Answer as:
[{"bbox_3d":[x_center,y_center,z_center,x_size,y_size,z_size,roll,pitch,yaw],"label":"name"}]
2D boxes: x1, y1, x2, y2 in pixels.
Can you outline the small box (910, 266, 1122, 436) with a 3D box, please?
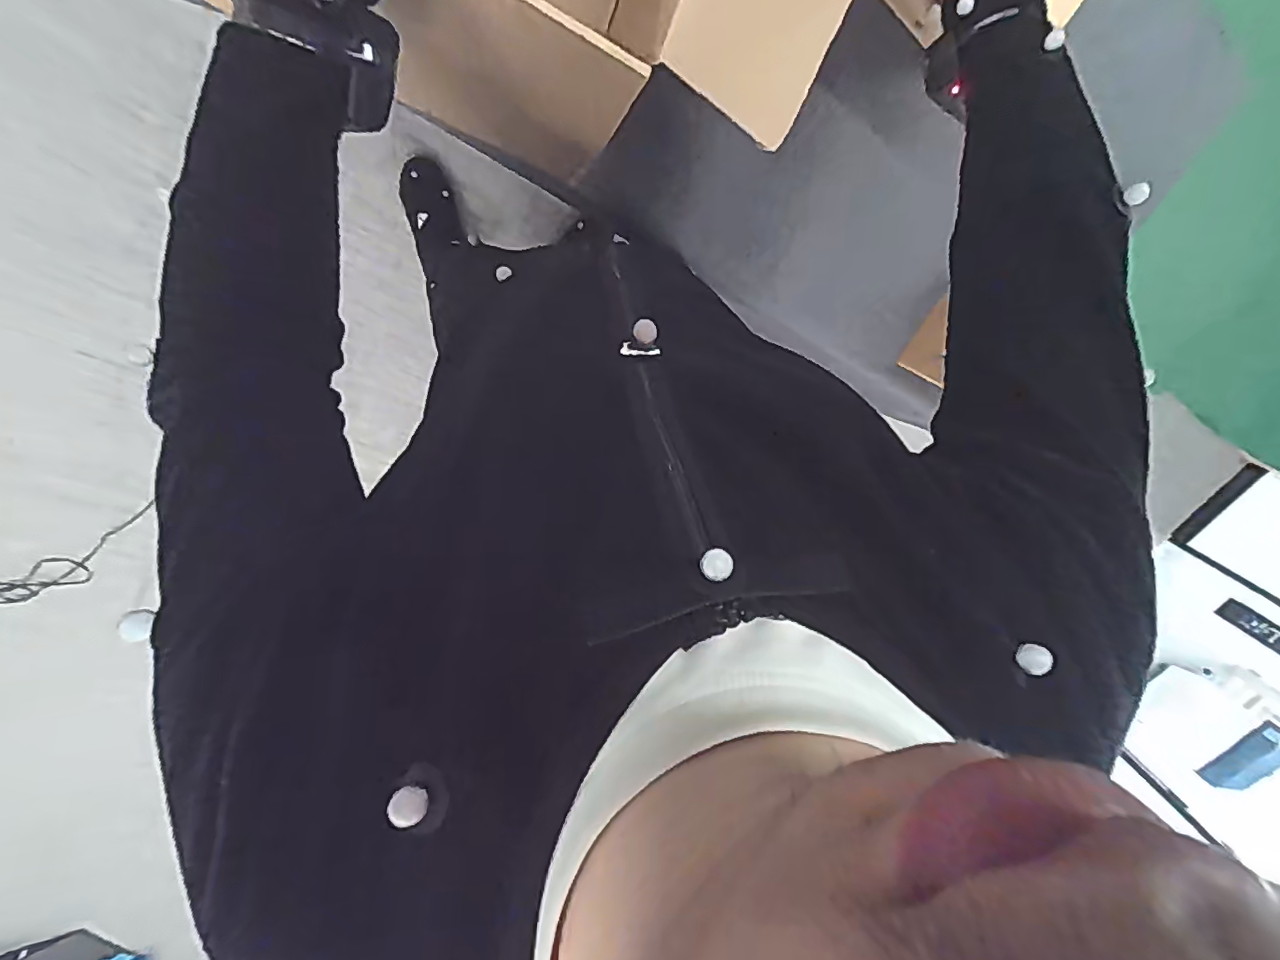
[{"bbox_3d":[0.549,-0.198,0.822,0.168,0.176,0.179,18,114,-24],"label":"small box"}]
